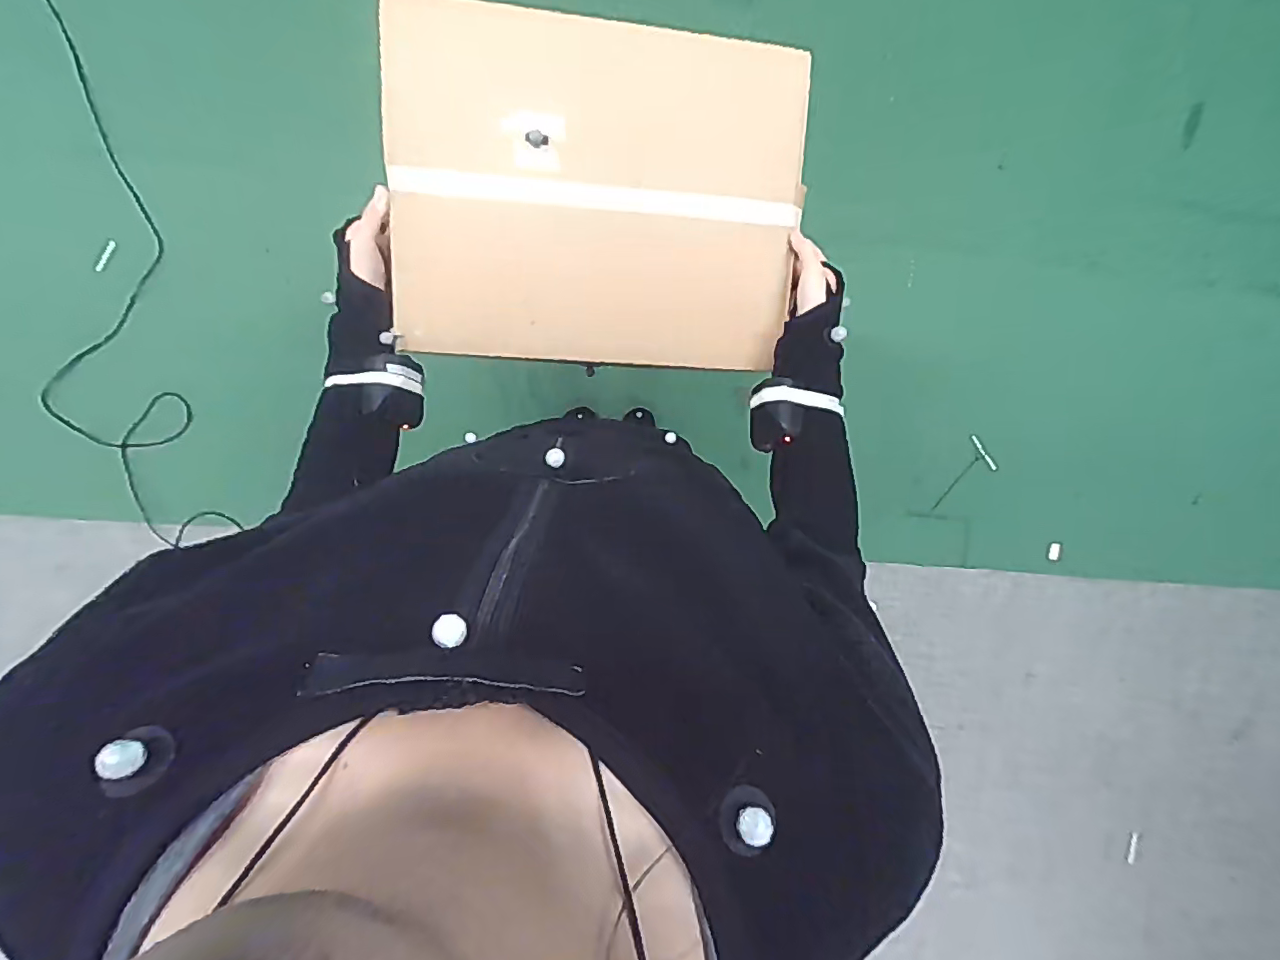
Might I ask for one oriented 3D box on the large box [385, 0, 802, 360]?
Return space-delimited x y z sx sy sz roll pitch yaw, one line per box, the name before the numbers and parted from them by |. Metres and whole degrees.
large box | -0.059 -0.325 0.688 0.408 0.320 0.320 2 103 -8
